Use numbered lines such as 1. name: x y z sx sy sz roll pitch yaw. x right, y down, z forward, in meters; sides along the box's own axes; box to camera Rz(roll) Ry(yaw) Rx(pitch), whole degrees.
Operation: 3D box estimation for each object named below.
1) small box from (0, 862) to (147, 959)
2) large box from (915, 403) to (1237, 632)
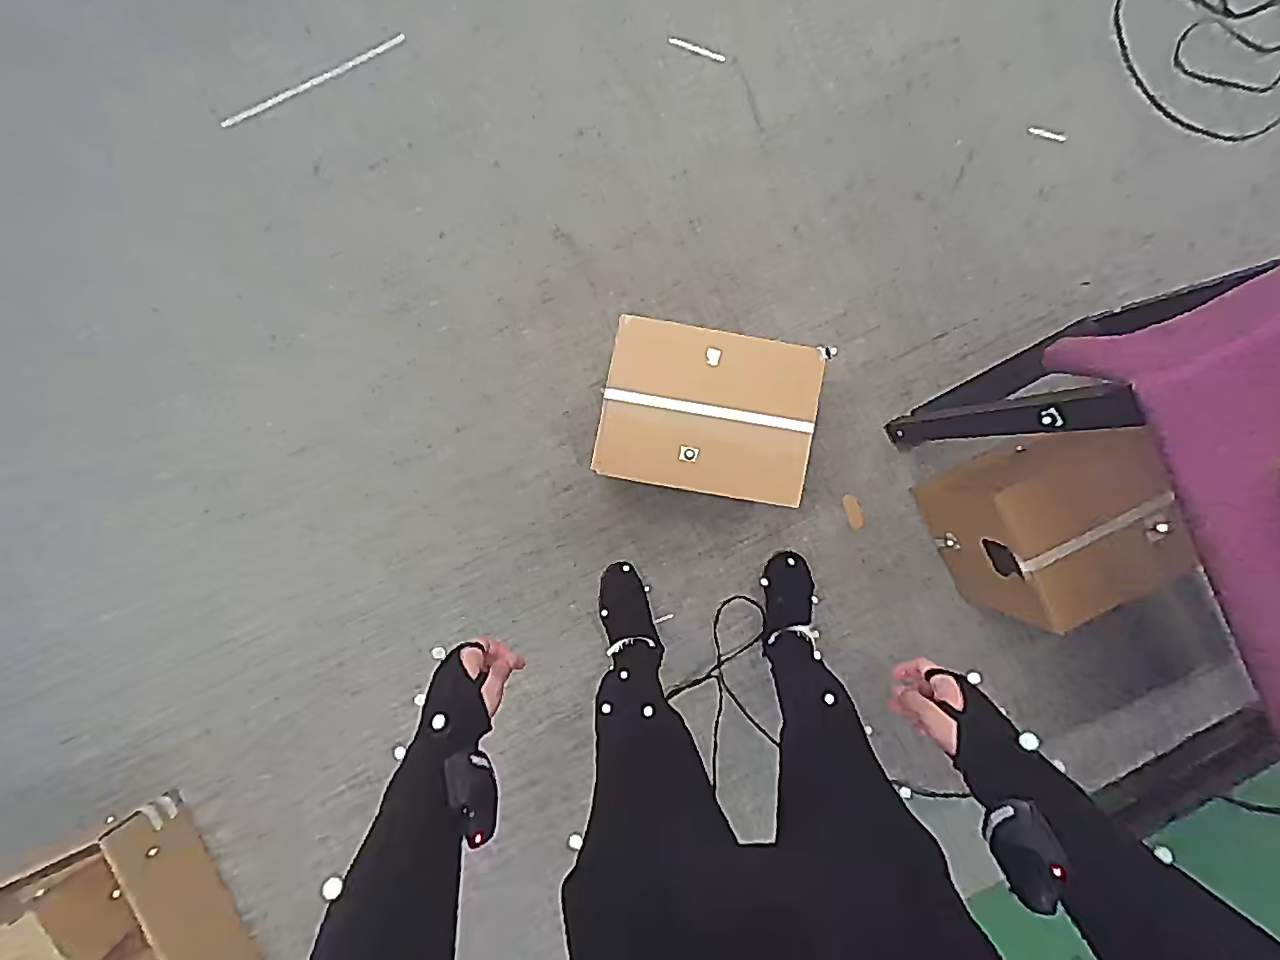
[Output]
1. small box: -1.266 0.993 1.191 0.168 0.176 0.179 -30 93 -1
2. large box: 0.922 0.072 1.197 0.408 0.320 0.320 -26 93 -2
